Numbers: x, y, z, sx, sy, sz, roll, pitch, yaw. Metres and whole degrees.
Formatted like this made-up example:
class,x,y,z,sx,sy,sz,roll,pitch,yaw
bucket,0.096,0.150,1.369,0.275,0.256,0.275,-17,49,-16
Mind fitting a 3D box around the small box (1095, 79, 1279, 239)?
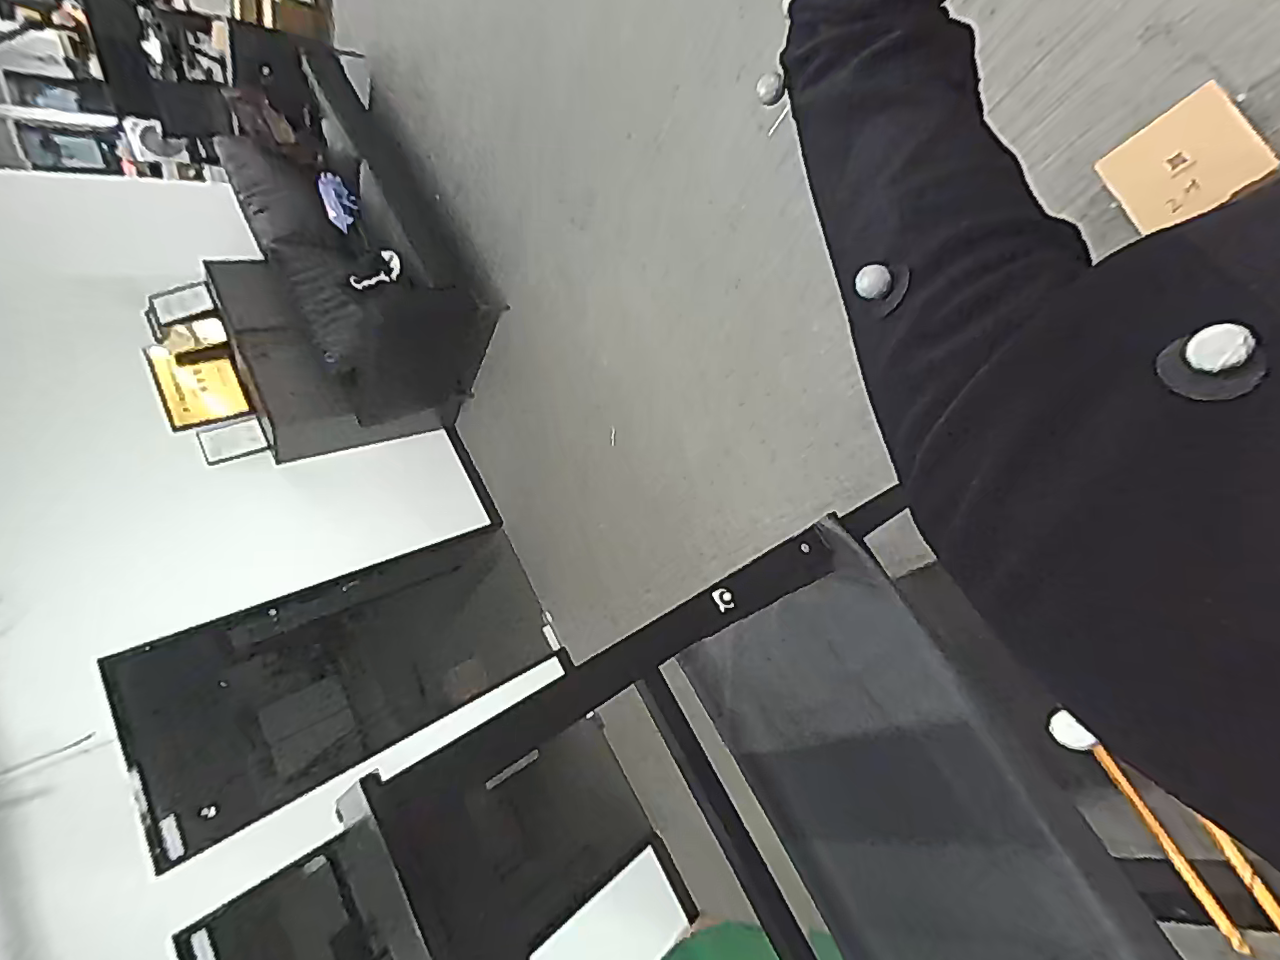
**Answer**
class,x,y,z,sx,sy,sz,roll,pitch,yaw
small box,0.953,-0.545,0.946,0.168,0.176,0.179,-38,75,51
